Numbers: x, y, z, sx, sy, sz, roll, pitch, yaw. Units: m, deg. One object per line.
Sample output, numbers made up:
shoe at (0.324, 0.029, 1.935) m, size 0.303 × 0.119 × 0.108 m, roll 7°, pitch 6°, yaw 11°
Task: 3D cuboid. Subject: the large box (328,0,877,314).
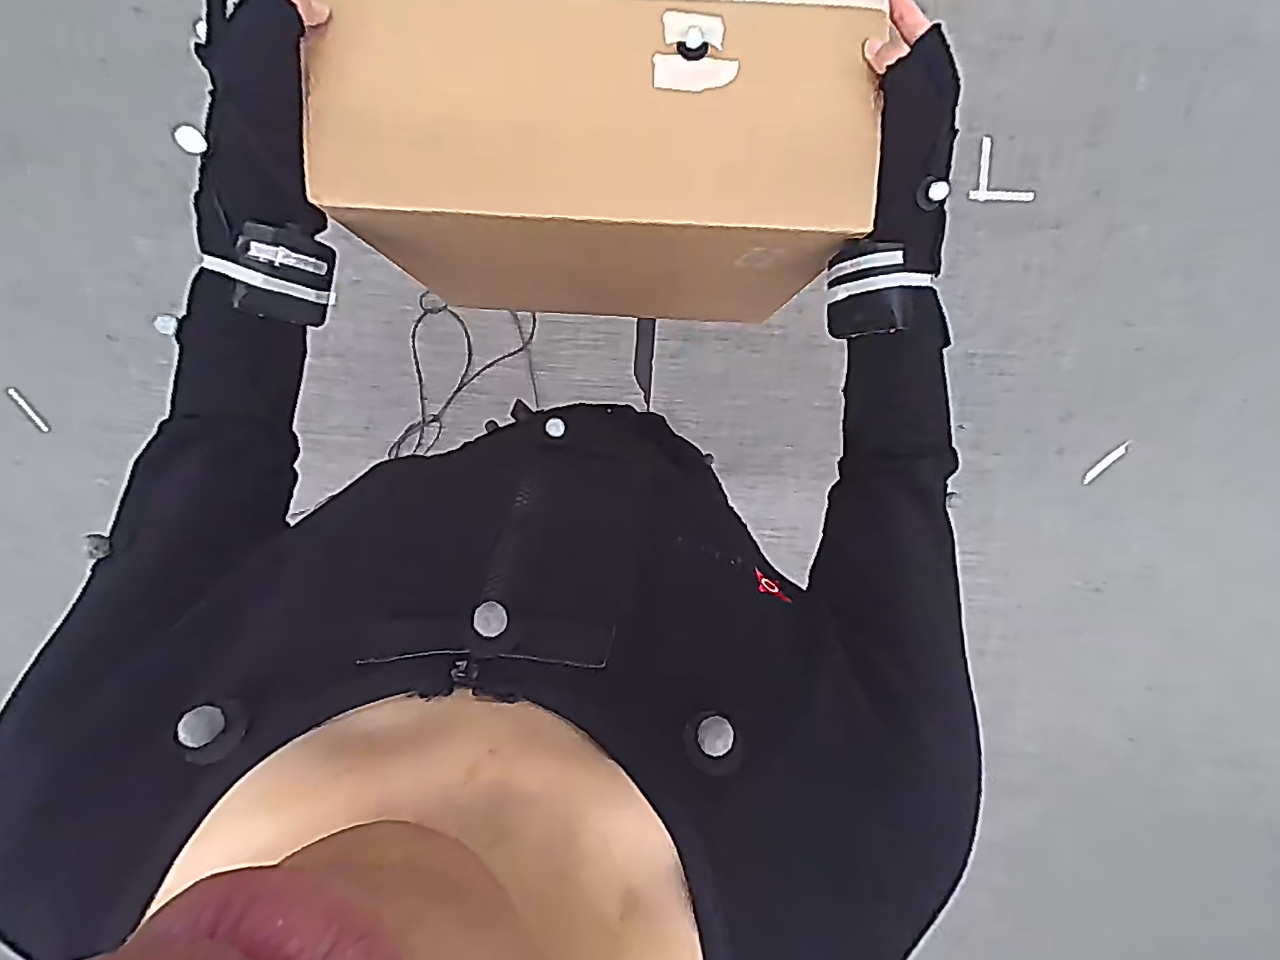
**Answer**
large box at (-0.030, -0.360, 0.540) m, size 0.408 × 0.320 × 0.320 m, roll 2°, pitch 95°, yaw -2°
